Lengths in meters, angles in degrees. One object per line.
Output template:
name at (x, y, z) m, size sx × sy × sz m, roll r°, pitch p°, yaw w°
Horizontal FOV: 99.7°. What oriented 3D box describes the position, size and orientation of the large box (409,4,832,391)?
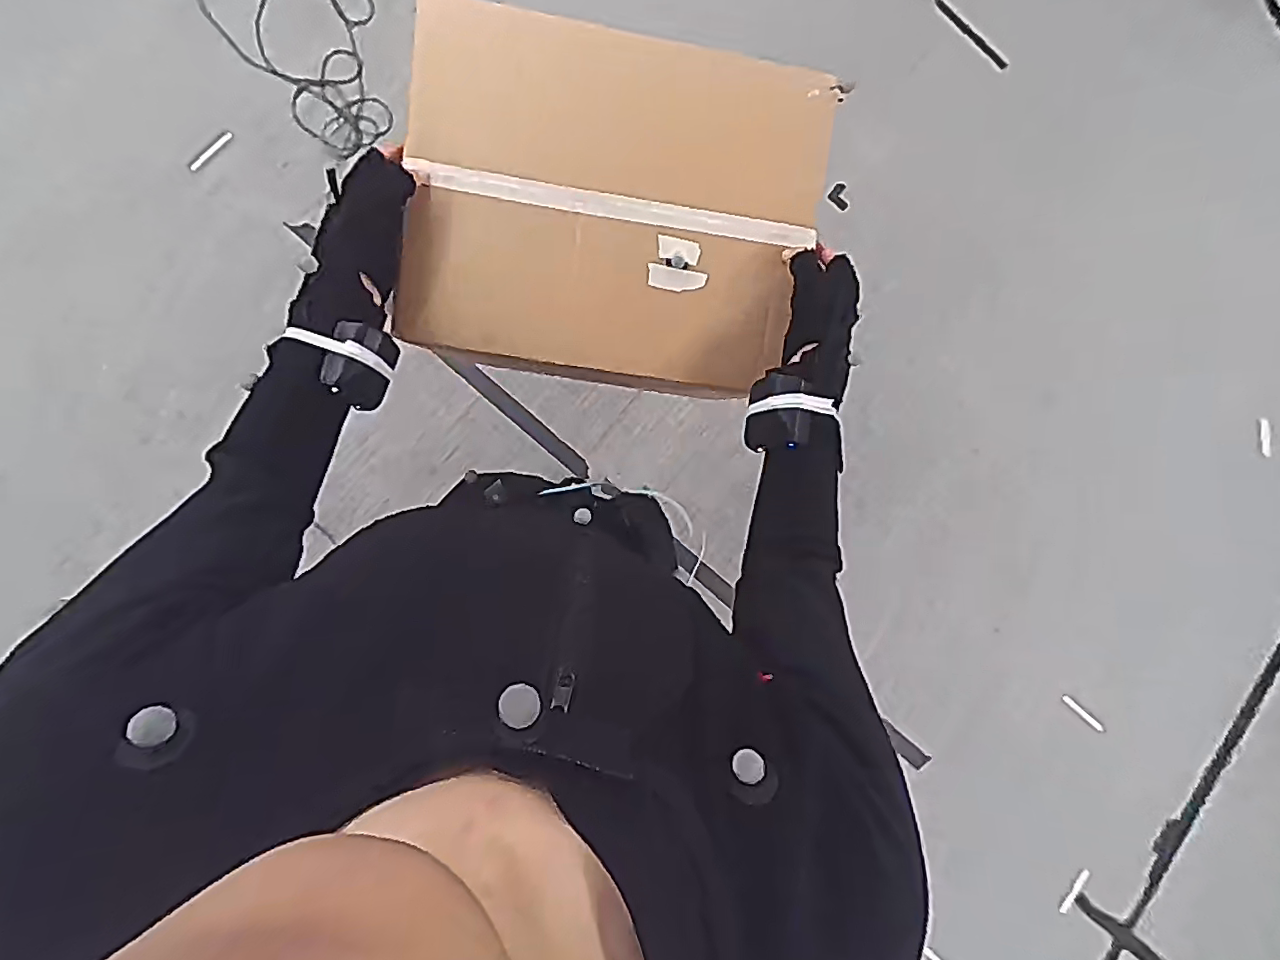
large box at (-0.035, -0.294, 0.688) m, size 0.408 × 0.320 × 0.320 m, roll 7°, pitch 98°, yaw -7°
